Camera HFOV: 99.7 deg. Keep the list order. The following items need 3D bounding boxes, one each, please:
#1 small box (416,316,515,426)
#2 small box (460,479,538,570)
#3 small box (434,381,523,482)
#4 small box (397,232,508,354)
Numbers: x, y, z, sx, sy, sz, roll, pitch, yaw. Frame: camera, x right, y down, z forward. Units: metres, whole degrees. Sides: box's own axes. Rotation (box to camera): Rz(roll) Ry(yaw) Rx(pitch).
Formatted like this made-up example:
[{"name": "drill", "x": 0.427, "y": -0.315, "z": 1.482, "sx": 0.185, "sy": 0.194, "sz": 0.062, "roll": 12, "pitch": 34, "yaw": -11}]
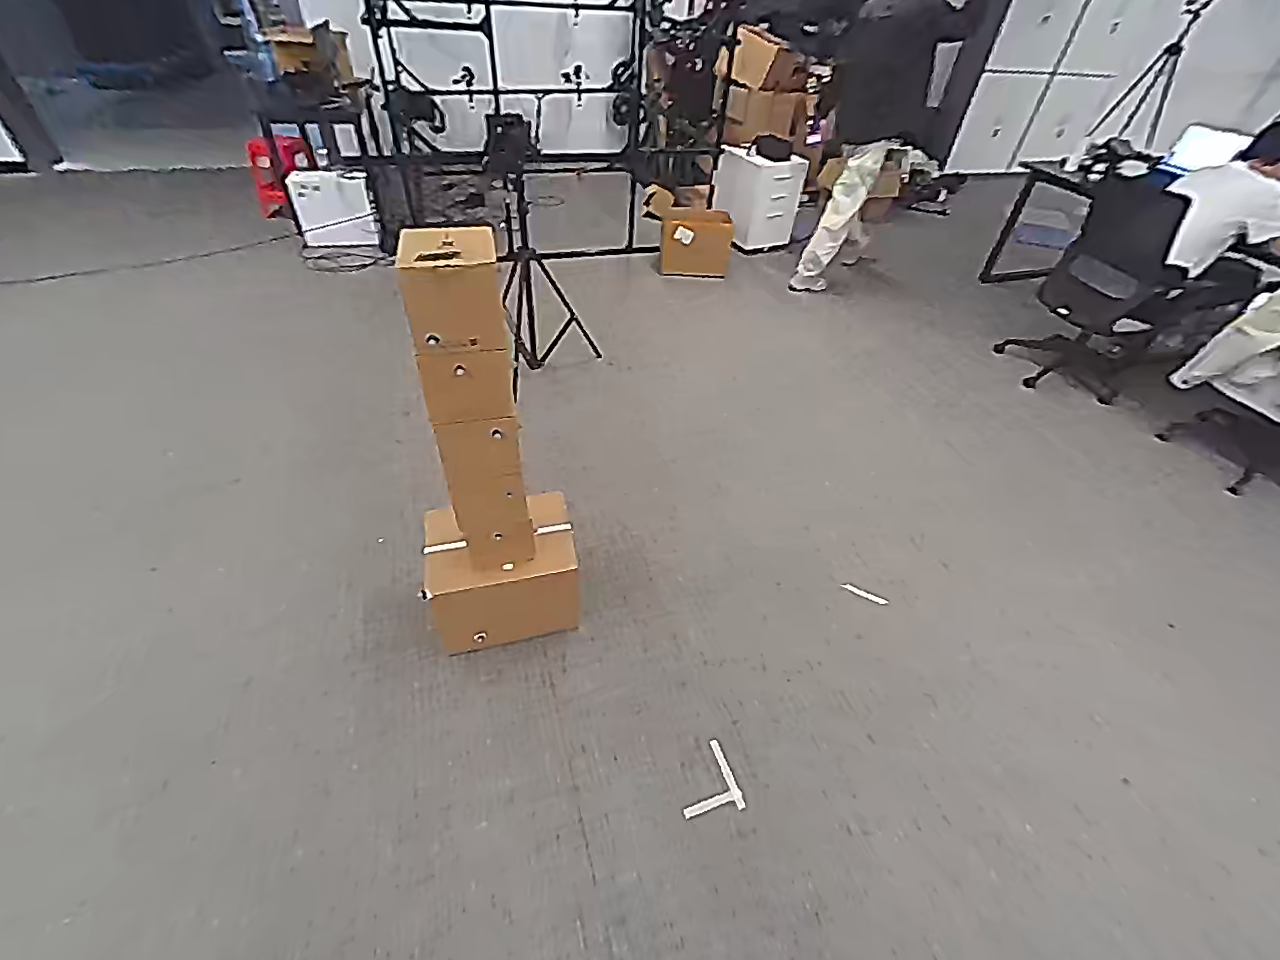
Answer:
[{"name": "small box", "x": -0.359, "y": -0.231, "z": 1.137, "sx": 0.179, "sy": 0.176, "sz": 0.168, "roll": -8, "pitch": 46, "yaw": -12}, {"name": "small box", "x": -0.383, "y": 0.124, "z": 1.475, "sx": 0.179, "sy": 0.176, "sz": 0.168, "roll": -10, "pitch": 46, "yaw": -16}, {"name": "small box", "x": -0.368, "y": -0.114, "z": 1.248, "sx": 0.179, "sy": 0.176, "sz": 0.168, "roll": -8, "pitch": 45, "yaw": -12}, {"name": "small box", "x": -0.347, "y": -0.351, "z": 1.025, "sx": 0.168, "sy": 0.176, "sz": 0.179, "roll": -8, "pitch": 45, "yaw": -12}]
